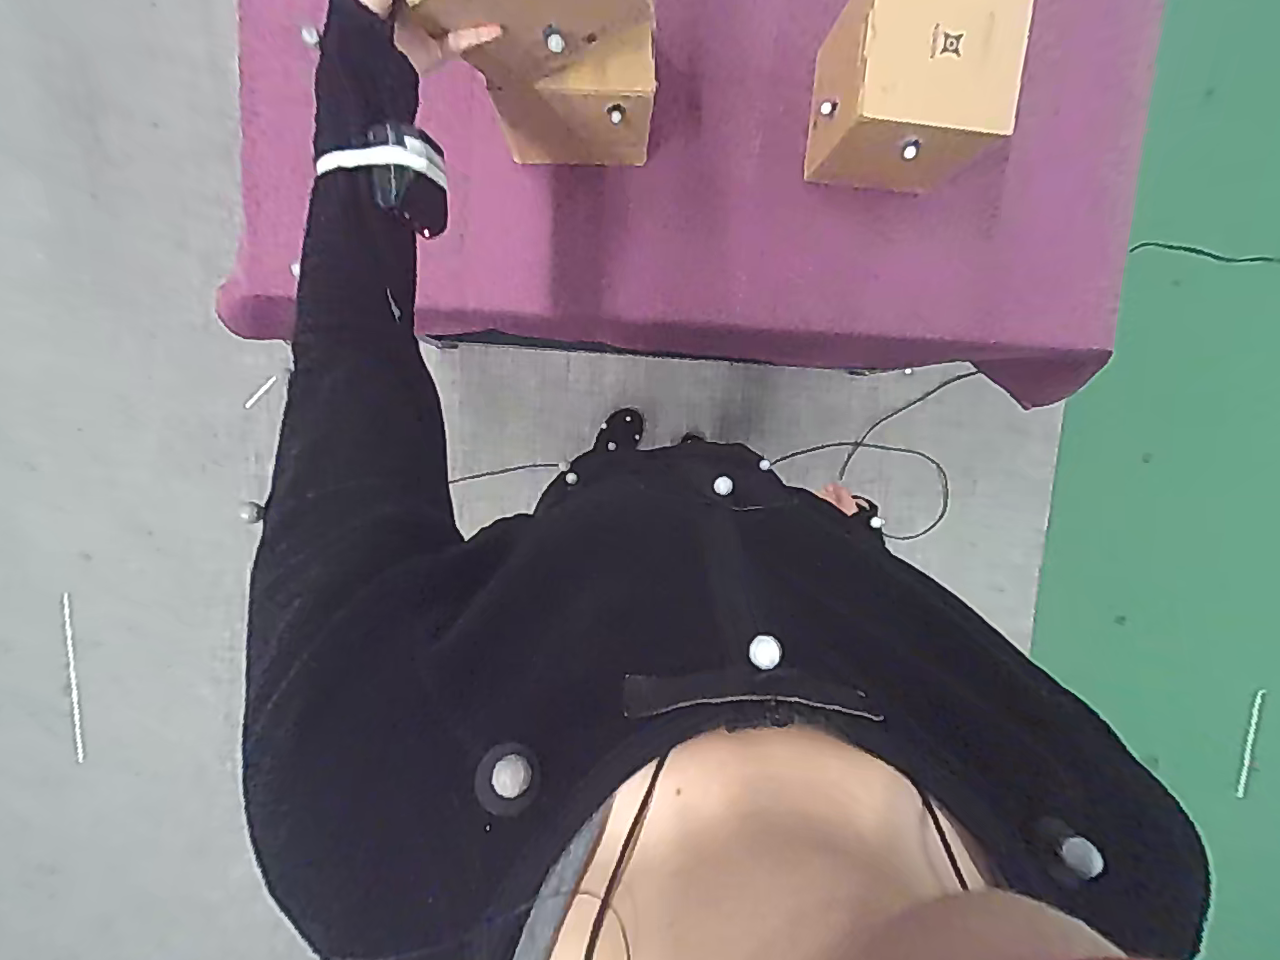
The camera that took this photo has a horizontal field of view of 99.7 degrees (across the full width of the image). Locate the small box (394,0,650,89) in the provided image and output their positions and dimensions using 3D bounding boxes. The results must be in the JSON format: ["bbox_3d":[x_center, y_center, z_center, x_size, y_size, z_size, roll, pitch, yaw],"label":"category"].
[{"bbox_3d":[-0.105,-0.466,0.434,0.168,0.176,0.179,-11,104,20],"label":"small box"}]

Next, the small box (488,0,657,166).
[{"bbox_3d":[-0.074,-0.490,0.630,0.179,0.176,0.168,-2,97,-4],"label":"small box"}]

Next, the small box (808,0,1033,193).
[{"bbox_3d":[0.321,-0.469,0.653,0.179,0.176,0.168,5,97,-4],"label":"small box"}]
